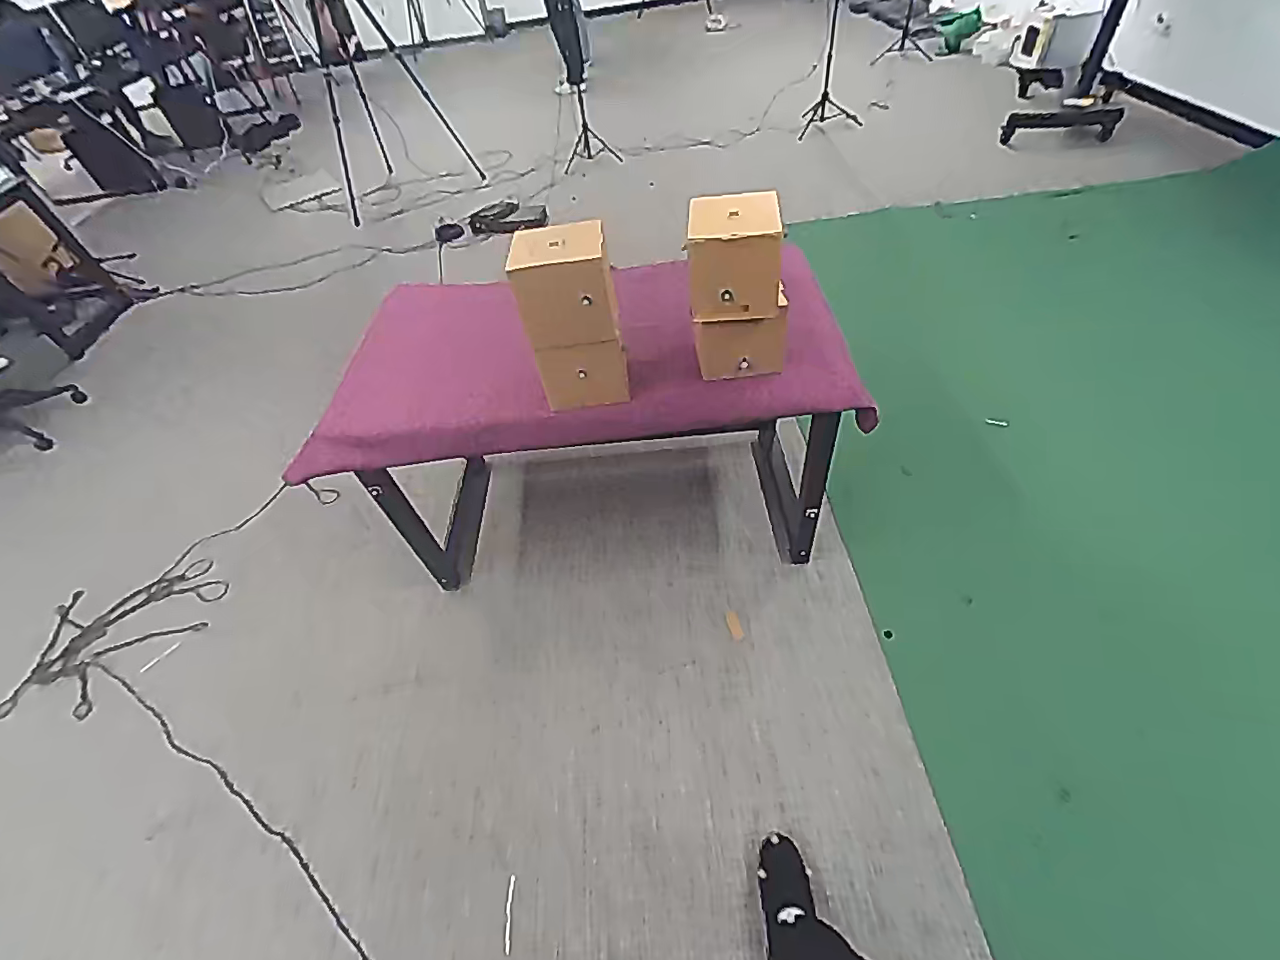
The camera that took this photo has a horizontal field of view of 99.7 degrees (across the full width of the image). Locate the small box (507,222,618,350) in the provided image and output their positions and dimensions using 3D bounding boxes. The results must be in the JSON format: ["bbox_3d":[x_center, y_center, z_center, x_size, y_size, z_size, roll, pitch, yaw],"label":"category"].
[{"bbox_3d":[-0.140,-0.374,1.054,0.179,0.176,0.168,-6,46,5],"label":"small box"}]

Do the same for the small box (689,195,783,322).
[{"bbox_3d":[0.184,-0.427,1.050,0.168,0.176,0.179,-1,49,10],"label":"small box"}]

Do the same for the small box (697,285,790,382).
[{"bbox_3d":[0.217,-0.335,1.182,0.179,0.176,0.168,-6,47,4],"label":"small box"}]
